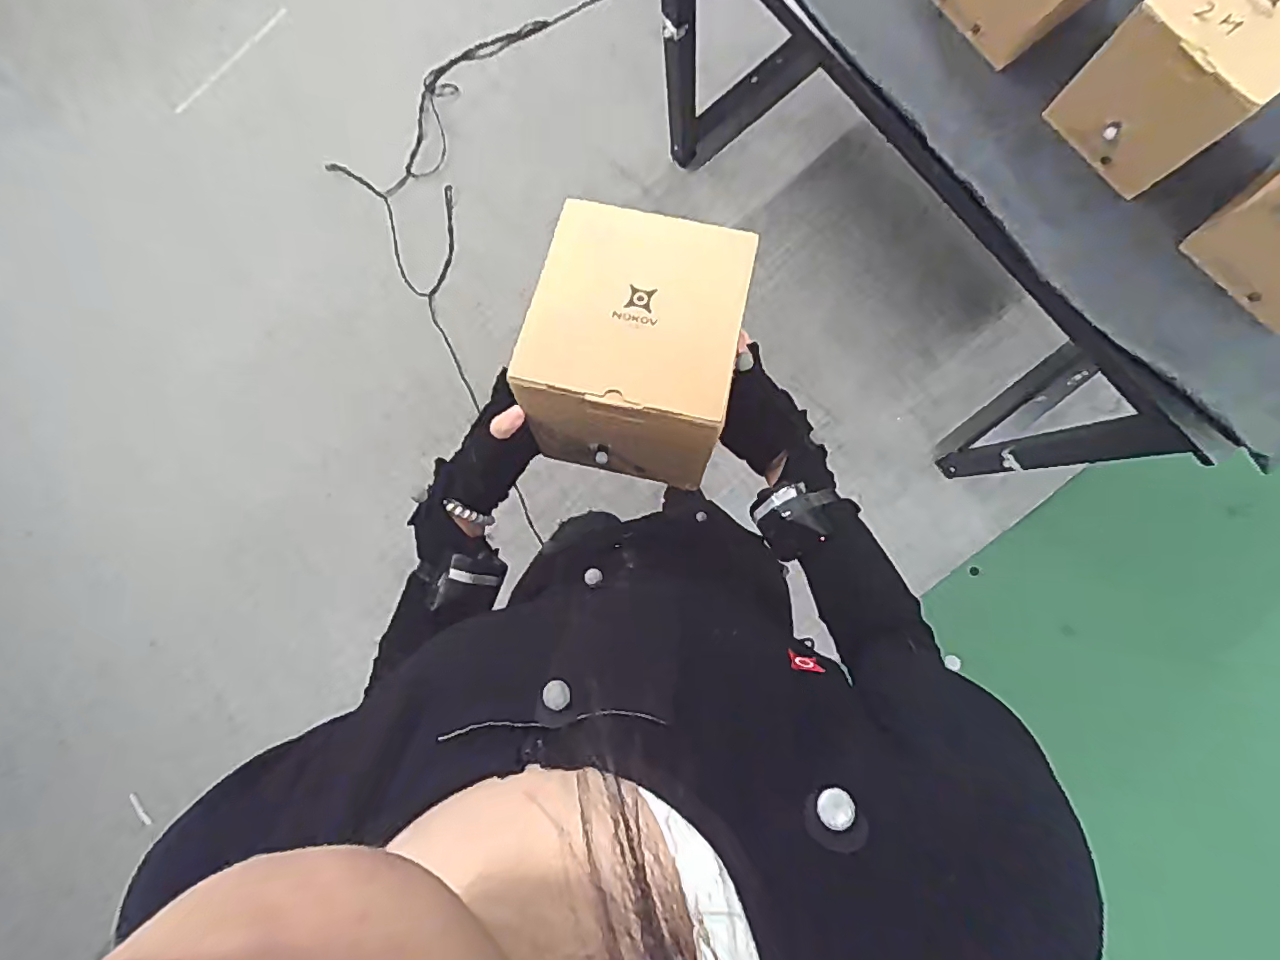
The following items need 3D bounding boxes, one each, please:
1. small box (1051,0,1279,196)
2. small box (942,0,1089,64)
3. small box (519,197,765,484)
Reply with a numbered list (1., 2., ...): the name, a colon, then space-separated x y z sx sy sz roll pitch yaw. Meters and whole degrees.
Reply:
1. small box: 0.653 -0.489 0.640 0.179 0.176 0.168 -40 84 2
2. small box: 0.501 -0.677 0.664 0.179 0.176 0.168 -38 85 1
3. small box: 0.004 -0.114 0.496 0.168 0.176 0.179 12 73 2
